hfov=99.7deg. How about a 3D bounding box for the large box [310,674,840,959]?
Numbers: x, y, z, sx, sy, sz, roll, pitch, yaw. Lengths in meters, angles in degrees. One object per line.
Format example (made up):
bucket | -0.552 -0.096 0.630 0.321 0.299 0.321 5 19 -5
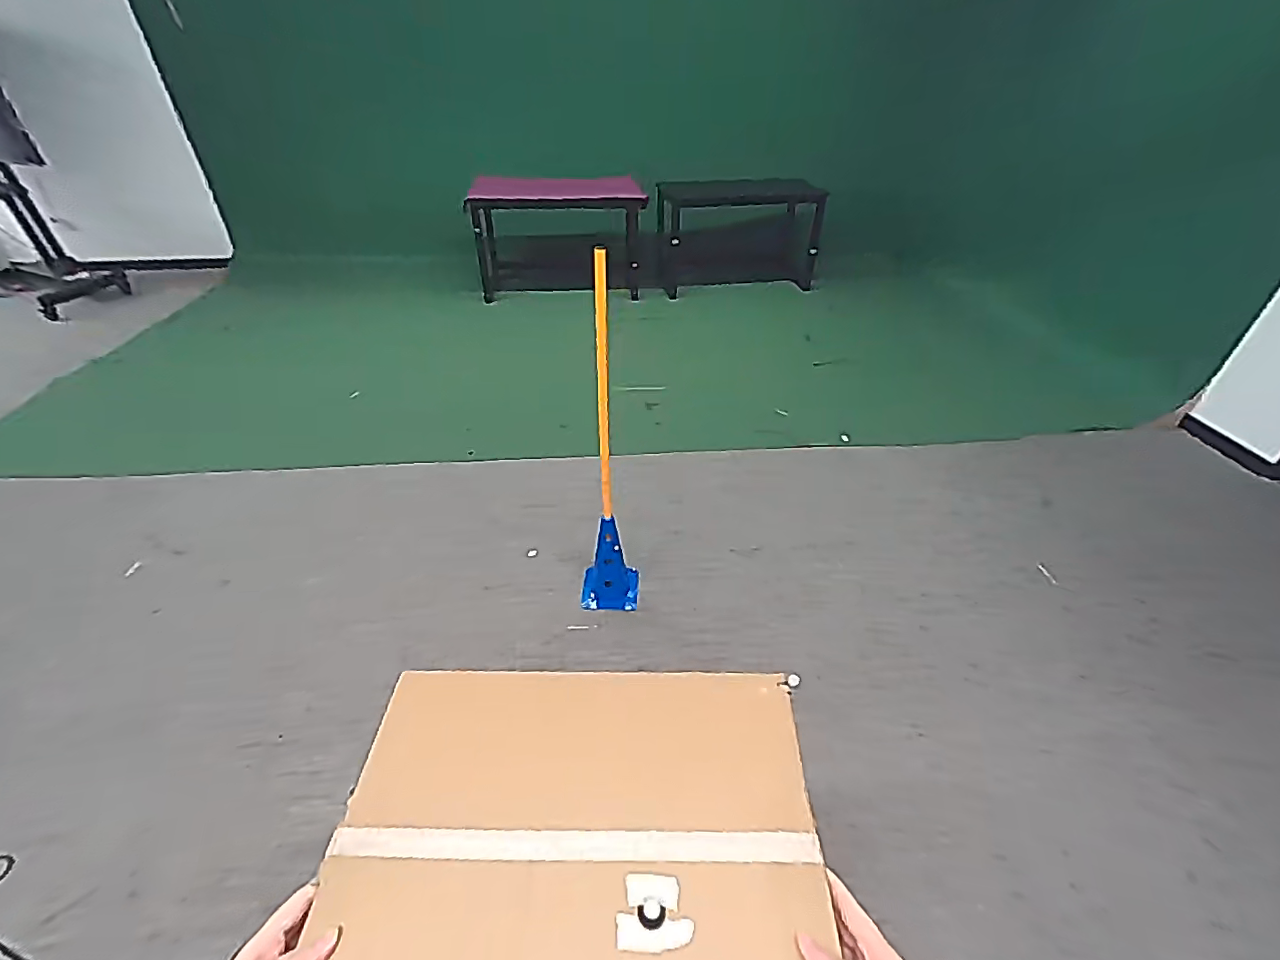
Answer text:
large box | -0.048 0.421 0.557 0.408 0.320 0.320 0 42 1

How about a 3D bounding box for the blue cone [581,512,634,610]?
blue cone | -0.115 0.271 1.892 0.193 0.380 0.192 3 37 2
